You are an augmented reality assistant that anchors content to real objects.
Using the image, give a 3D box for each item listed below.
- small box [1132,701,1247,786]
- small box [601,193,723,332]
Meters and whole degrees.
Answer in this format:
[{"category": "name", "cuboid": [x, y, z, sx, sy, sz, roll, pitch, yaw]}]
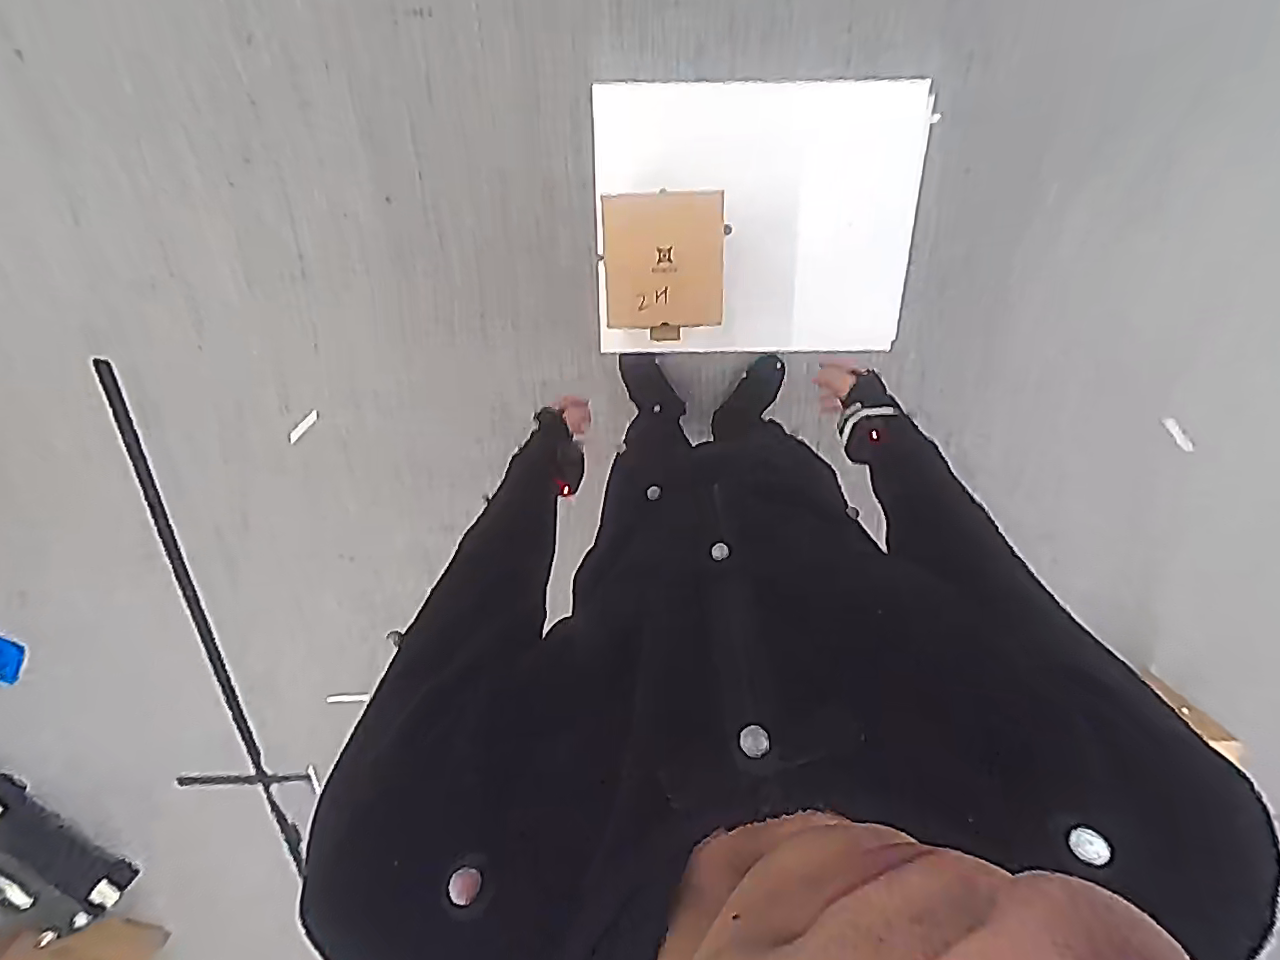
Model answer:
[{"category": "small box", "cuboid": [1.730, 0.834, 1.716, 0.168, 0.176, 0.179, 2, 109, -1]}, {"category": "small box", "cuboid": [0.029, -0.320, 0.814, 0.168, 0.176, 0.179, -2, 111, 1]}]
